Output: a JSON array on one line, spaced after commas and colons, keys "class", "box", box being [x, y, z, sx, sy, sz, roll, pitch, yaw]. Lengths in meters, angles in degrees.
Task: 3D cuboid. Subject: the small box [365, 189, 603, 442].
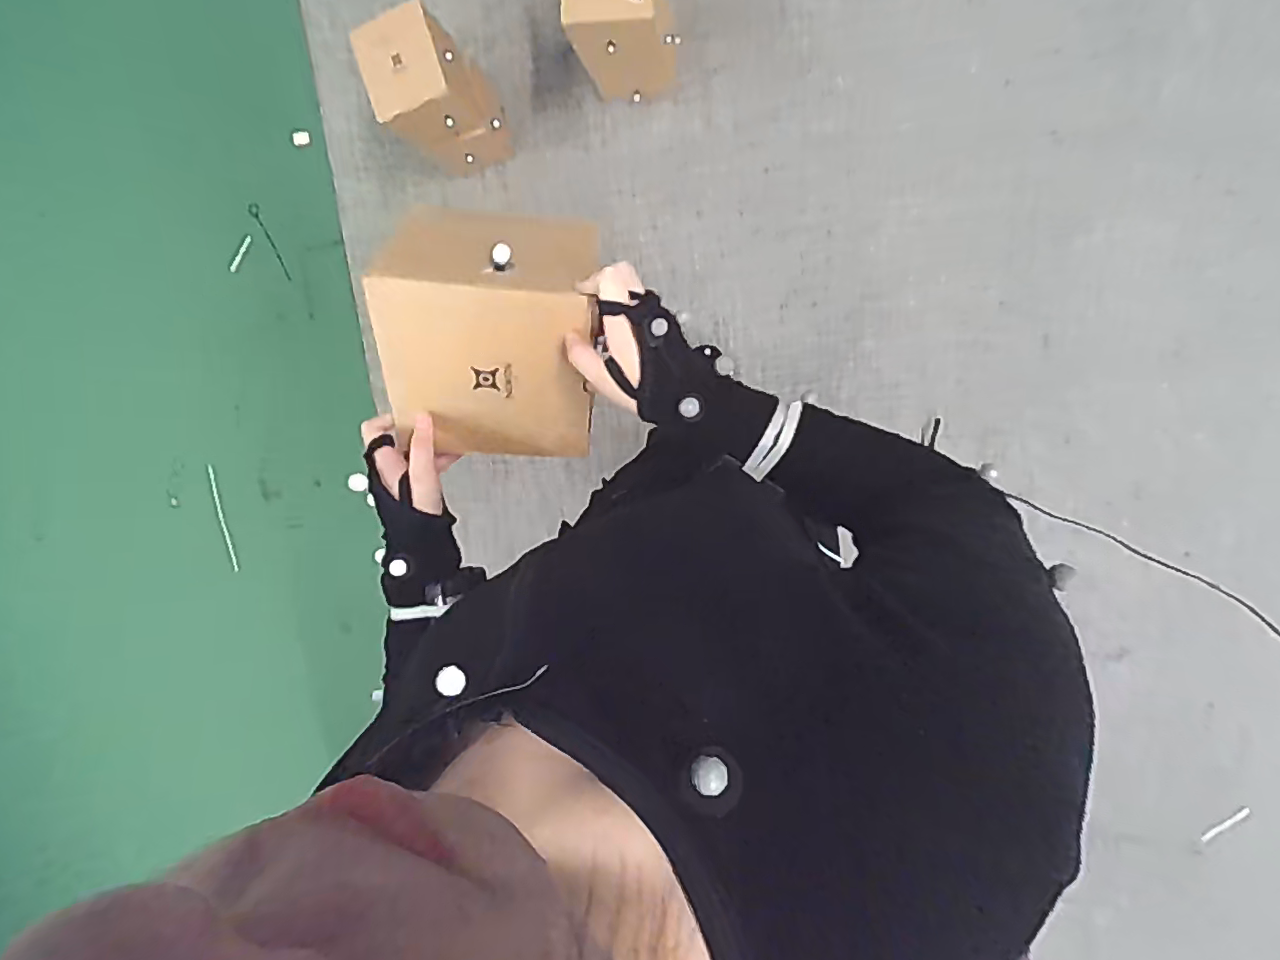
[{"class": "small box", "box": [-0.131, -0.157, 0.512, 0.179, 0.176, 0.168, 3, 134, -9]}]

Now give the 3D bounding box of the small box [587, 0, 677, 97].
[{"class": "small box", "box": [-0.013, -0.982, 1.199, 0.179, 0.176, 0.168, 4, 102, 9]}]

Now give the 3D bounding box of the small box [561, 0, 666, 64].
[{"class": "small box", "box": [-0.043, -0.939, 1.042, 0.179, 0.176, 0.168, 5, 103, 11]}]

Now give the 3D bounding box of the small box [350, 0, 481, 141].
[{"class": "small box", "box": [-0.461, -0.851, 1.142, 0.168, 0.176, 0.179, -14, 99, 13]}]
